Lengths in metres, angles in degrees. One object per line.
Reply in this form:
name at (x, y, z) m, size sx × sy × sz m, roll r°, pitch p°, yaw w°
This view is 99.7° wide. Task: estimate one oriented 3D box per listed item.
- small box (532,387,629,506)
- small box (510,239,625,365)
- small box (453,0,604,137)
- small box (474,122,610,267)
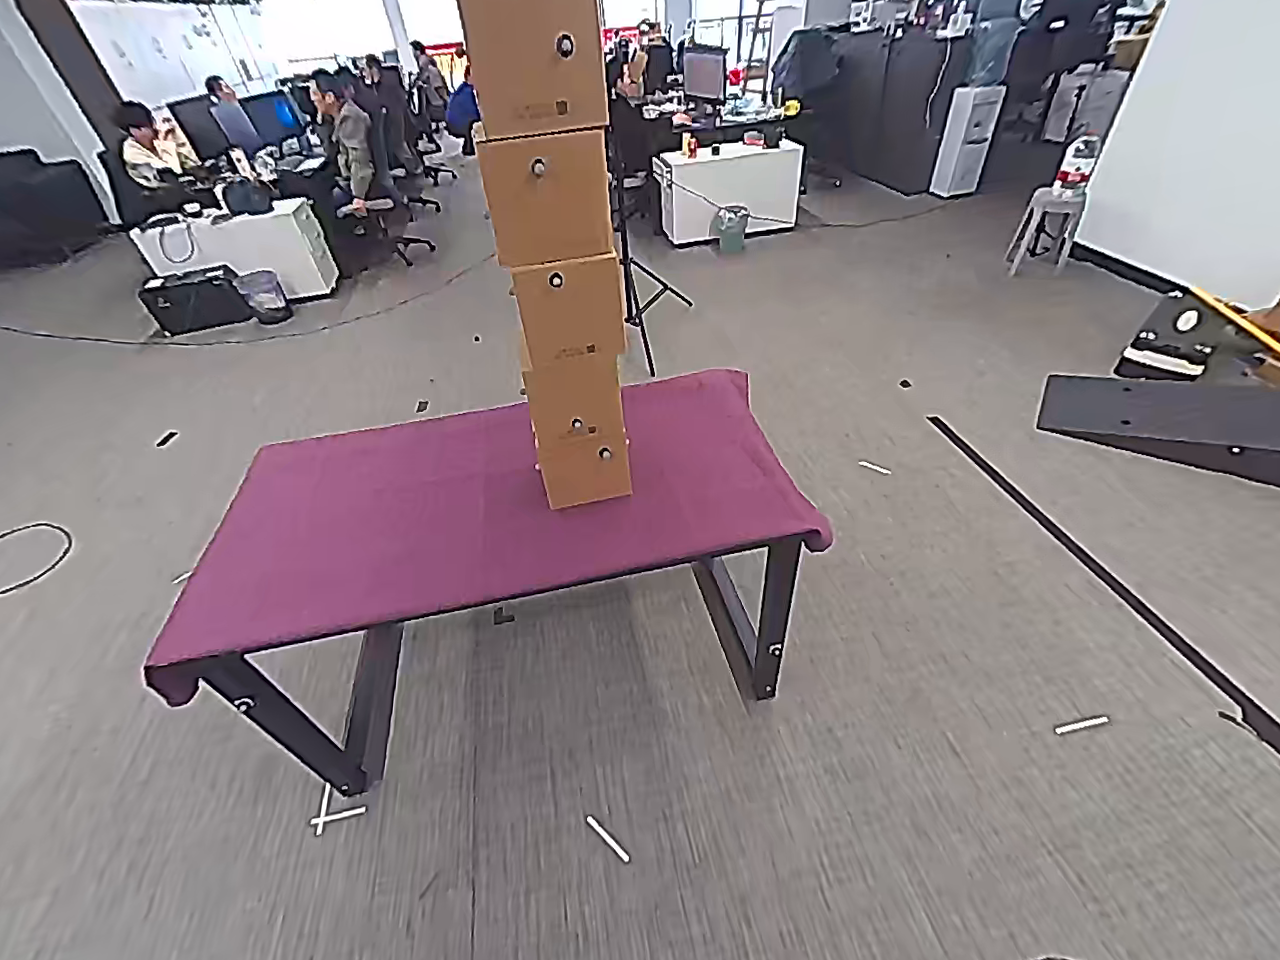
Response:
small box at (-0.122, -0.070, 1.141) m, size 0.179 × 0.176 × 0.168 m, roll -12°, pitch 41°, yaw -6°
small box at (-0.126, -0.318, 0.927) m, size 0.168 × 0.176 × 0.179 m, roll -11°, pitch 41°, yaw -7°
small box at (-0.150, -0.571, 0.724) m, size 0.168 × 0.176 × 0.179 m, roll -12°, pitch 41°, yaw -9°
small box at (-0.146, -0.445, 0.828) m, size 0.179 × 0.176 × 0.168 m, roll -12°, pitch 42°, yaw -7°
